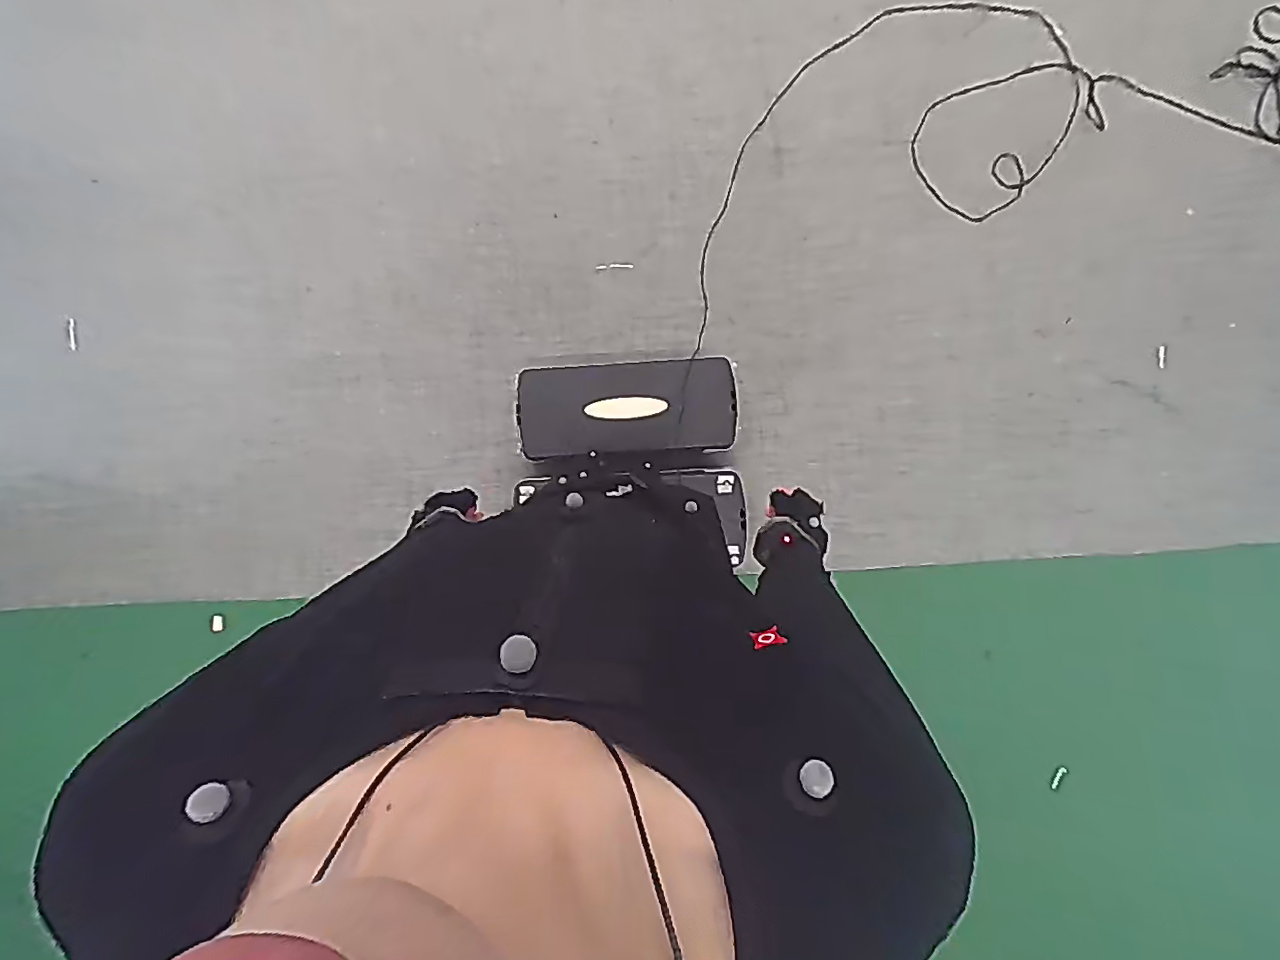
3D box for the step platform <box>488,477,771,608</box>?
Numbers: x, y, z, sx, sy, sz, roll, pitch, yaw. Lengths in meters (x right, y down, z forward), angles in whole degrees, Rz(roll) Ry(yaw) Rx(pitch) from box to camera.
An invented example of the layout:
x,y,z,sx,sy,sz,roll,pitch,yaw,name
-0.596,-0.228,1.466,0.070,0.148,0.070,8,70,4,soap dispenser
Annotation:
x,y,z,sx,sy,sz,roll,pitch,yaw,name
-0.027,0.153,1.396,0.684,0.204,0.286,-3,89,-1,step platform
